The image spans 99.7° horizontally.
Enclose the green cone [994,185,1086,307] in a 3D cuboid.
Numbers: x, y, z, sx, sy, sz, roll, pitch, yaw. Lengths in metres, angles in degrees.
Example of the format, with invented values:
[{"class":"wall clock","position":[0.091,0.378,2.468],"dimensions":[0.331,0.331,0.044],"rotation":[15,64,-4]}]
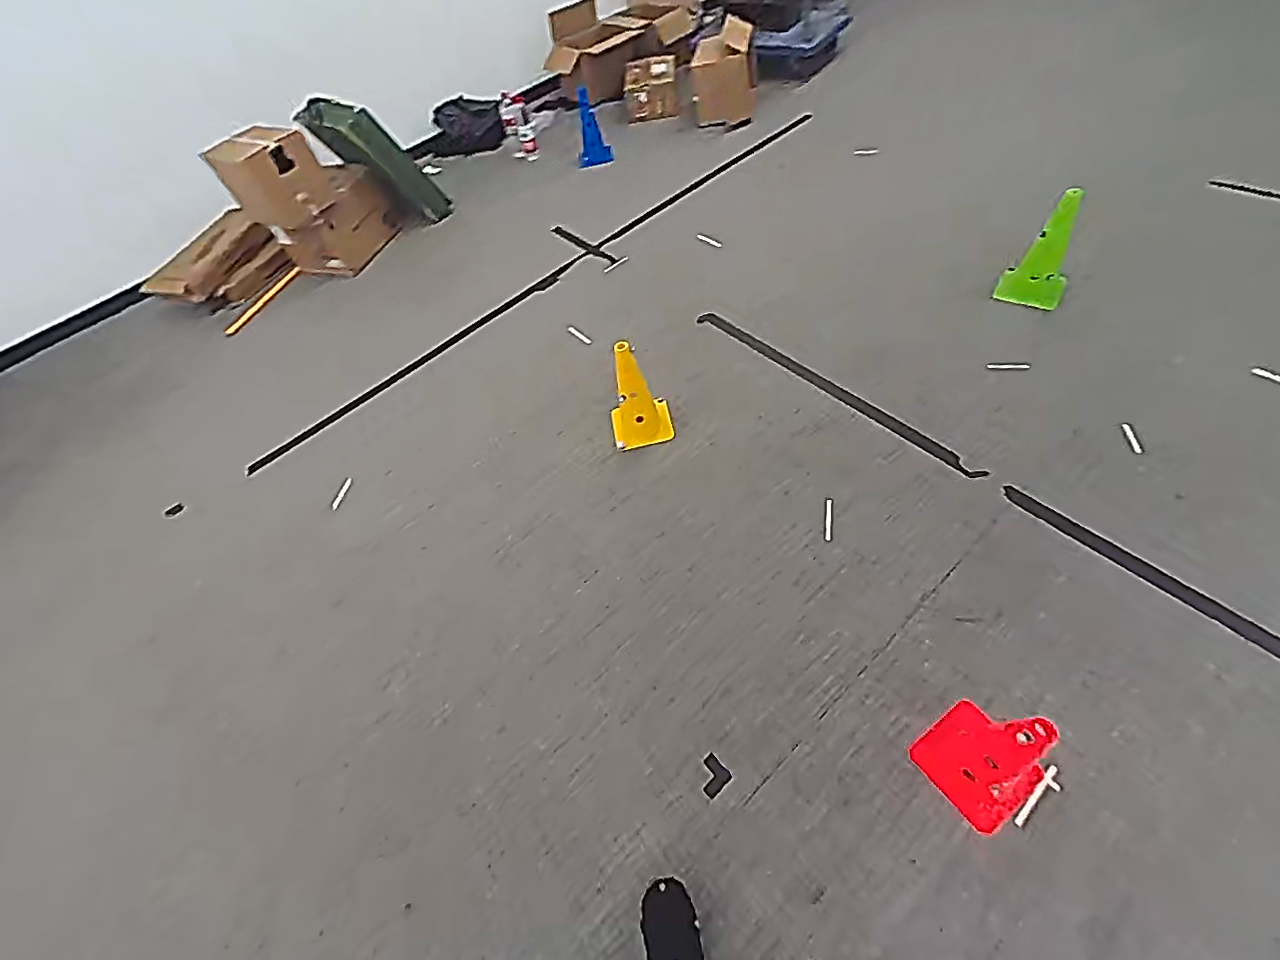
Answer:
[{"class":"green cone","position":[1.392,-0.807,1.831],"dimensions":[0.202,0.368,0.200],"rotation":[25,63,25]}]

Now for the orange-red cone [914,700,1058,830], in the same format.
[{"class":"orange-red cone","position":[0.693,0.503,1.025],"dimensions":[0.198,0.360,0.199],"rotation":[-32,53,-12]}]
